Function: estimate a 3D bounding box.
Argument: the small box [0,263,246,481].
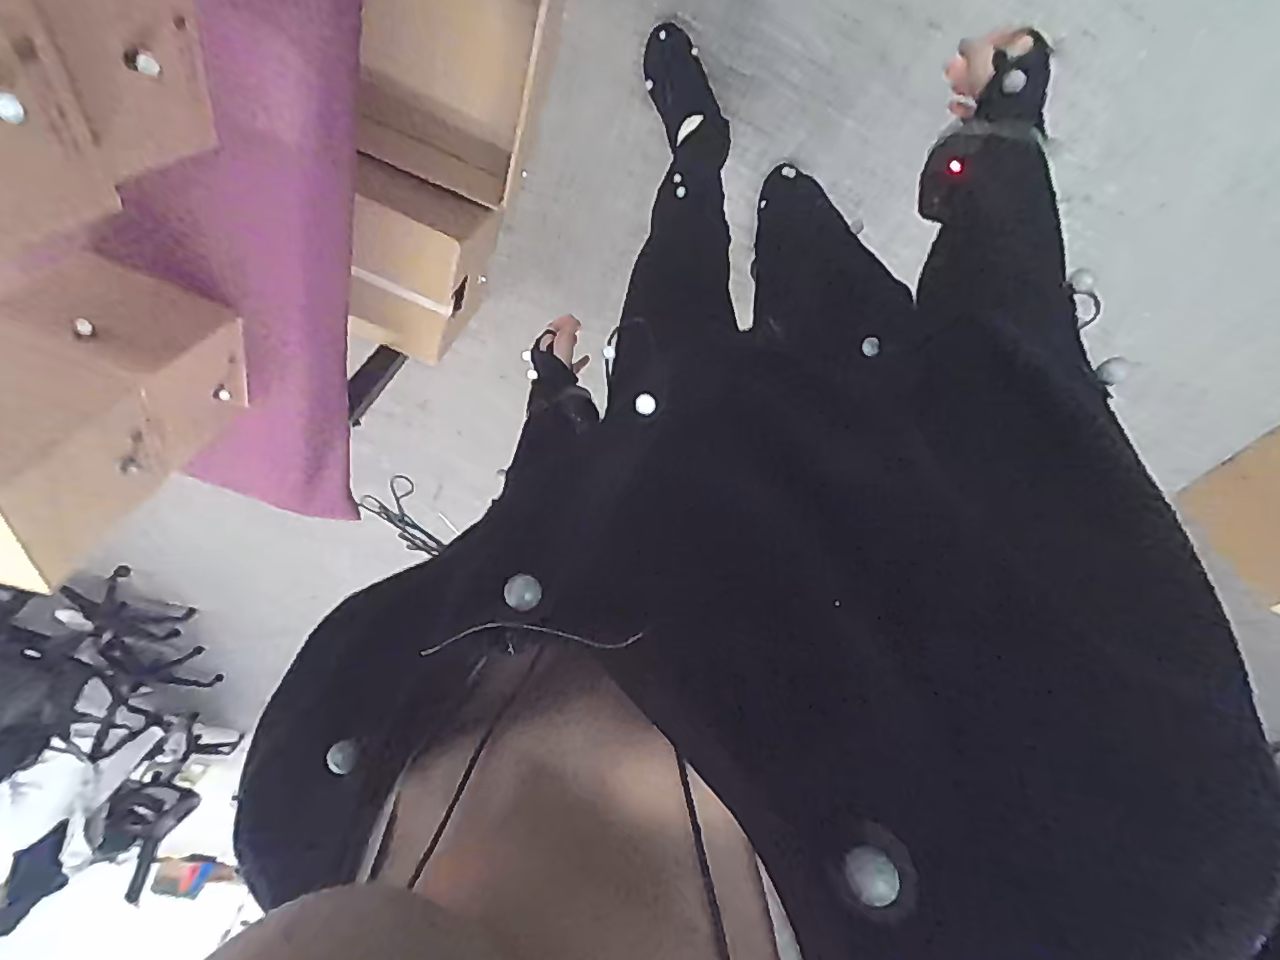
[{"bbox_3d":[-0.622,-0.135,0.654,0.179,0.176,0.168,22,132,-13],"label":"small box"}]

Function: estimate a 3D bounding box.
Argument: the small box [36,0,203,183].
[{"bbox_3d":[-0.485,-0.362,0.417,0.179,0.176,0.168,18,133,-8],"label":"small box"}]
